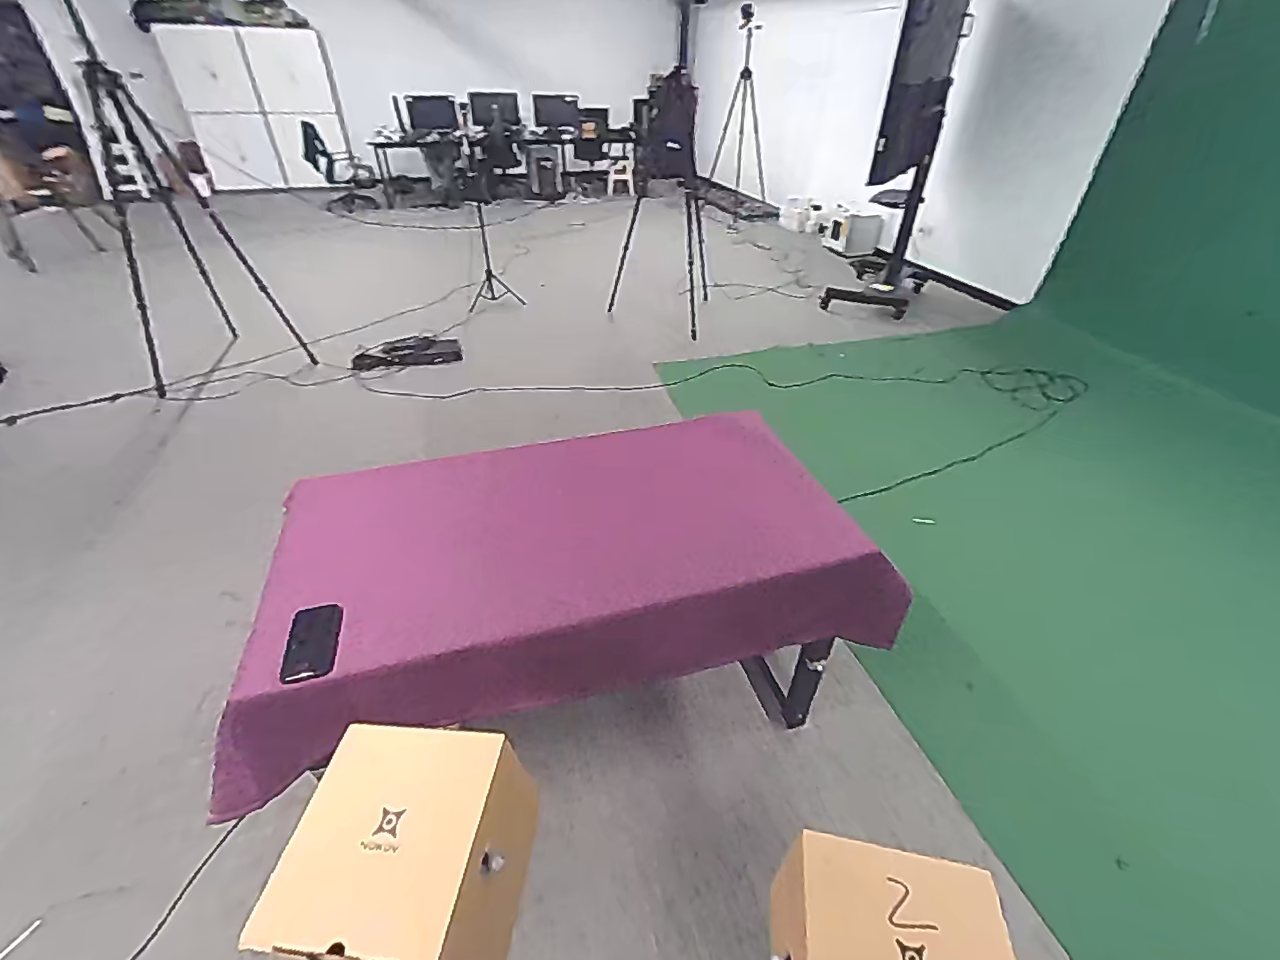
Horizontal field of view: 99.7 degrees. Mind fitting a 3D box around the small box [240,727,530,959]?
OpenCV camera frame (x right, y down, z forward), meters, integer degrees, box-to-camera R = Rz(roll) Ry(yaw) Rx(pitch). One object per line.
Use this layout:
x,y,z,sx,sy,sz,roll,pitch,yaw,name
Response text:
-0.213,0.366,0.516,0.168,0.176,0.179,1,40,7,small box
